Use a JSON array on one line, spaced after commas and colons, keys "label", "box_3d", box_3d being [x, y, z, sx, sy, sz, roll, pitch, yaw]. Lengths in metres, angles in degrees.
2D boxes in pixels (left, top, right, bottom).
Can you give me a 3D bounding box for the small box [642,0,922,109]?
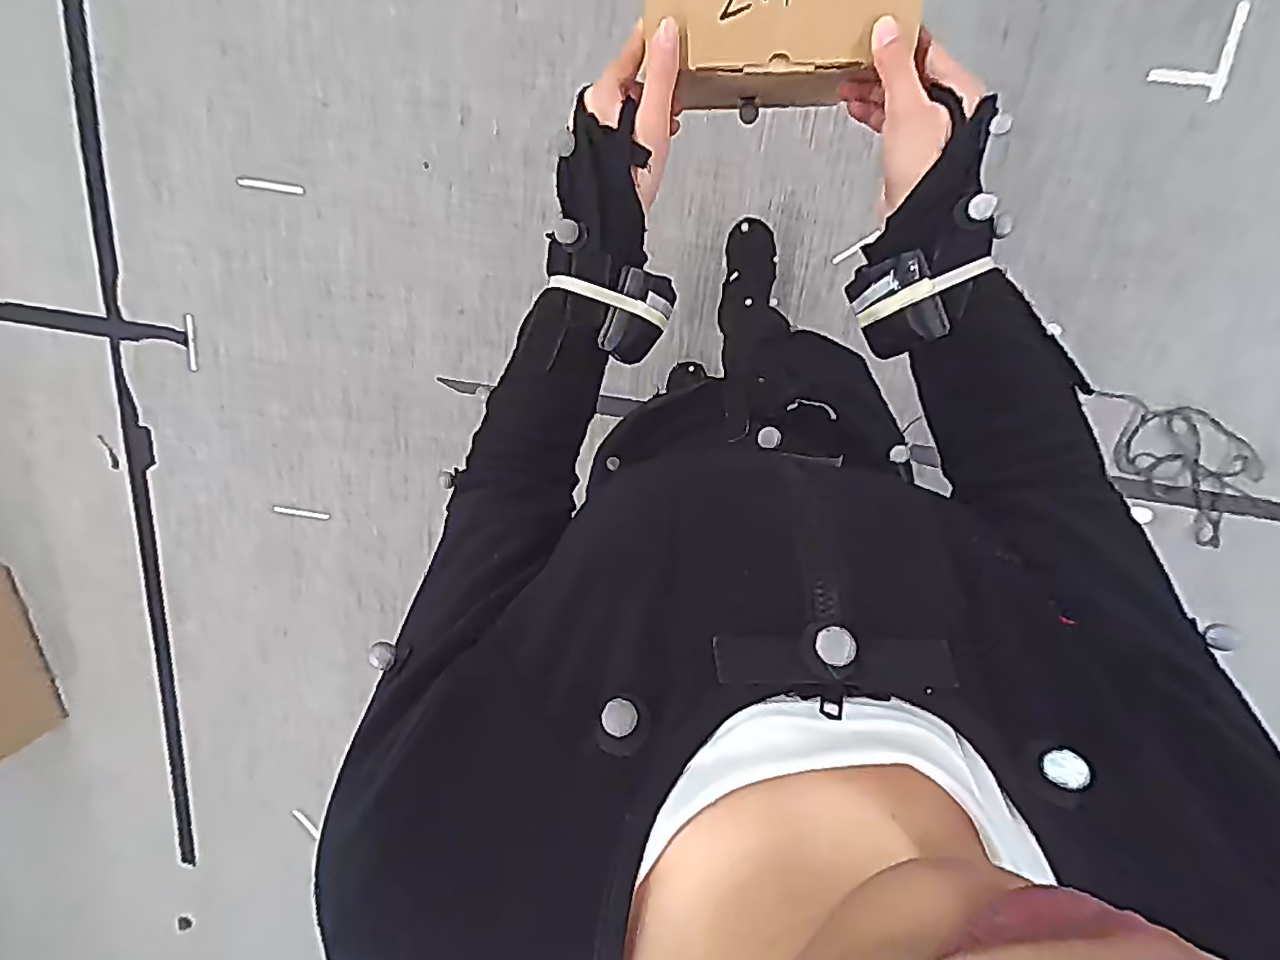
[{"label": "small box", "box_3d": [0.085, -0.370, 0.364, 0.168, 0.176, 0.179, 0, 117, 2]}]
